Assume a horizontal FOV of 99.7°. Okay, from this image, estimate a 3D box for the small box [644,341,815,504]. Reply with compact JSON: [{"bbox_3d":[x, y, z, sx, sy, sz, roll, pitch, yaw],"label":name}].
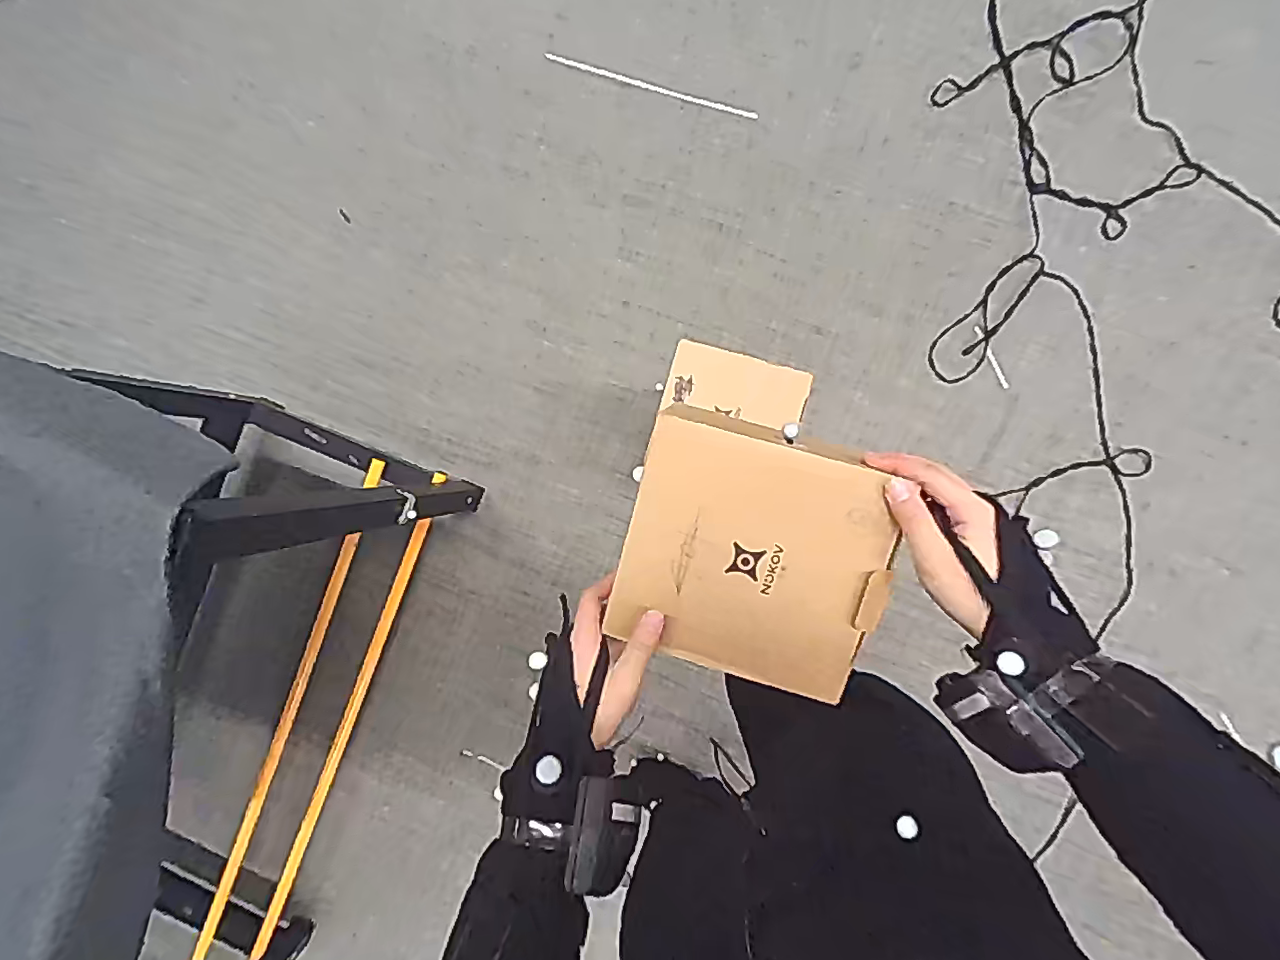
[{"bbox_3d":[0.116,-0.074,0.751,0.179,0.176,0.168,17,92,4],"label":"small box"}]
